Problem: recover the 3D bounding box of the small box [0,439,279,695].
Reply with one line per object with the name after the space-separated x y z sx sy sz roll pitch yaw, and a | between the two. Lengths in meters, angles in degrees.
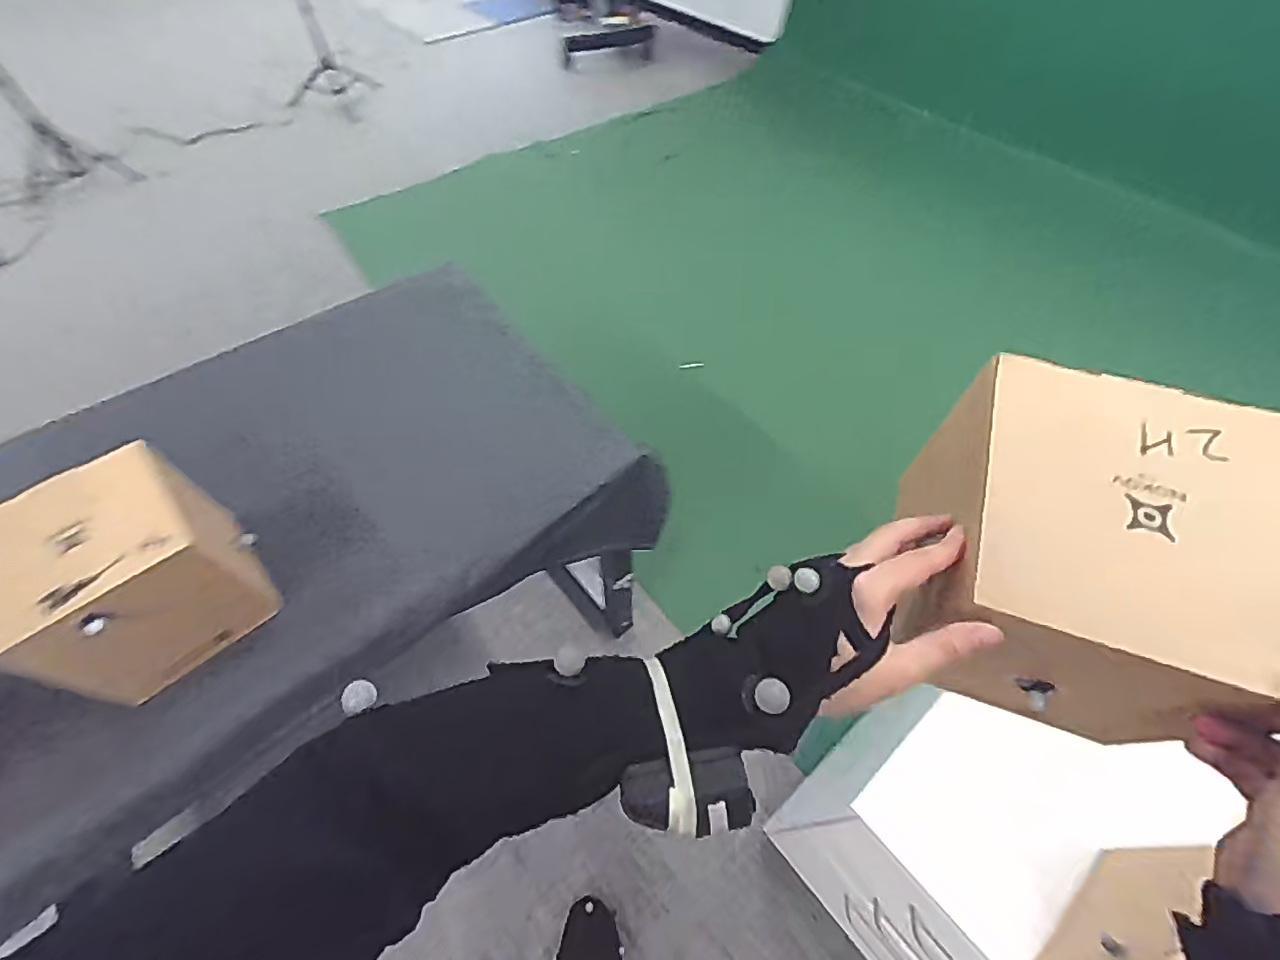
-0.537 0.096 0.579 0.168 0.176 0.179 -37 62 -24 | small box
